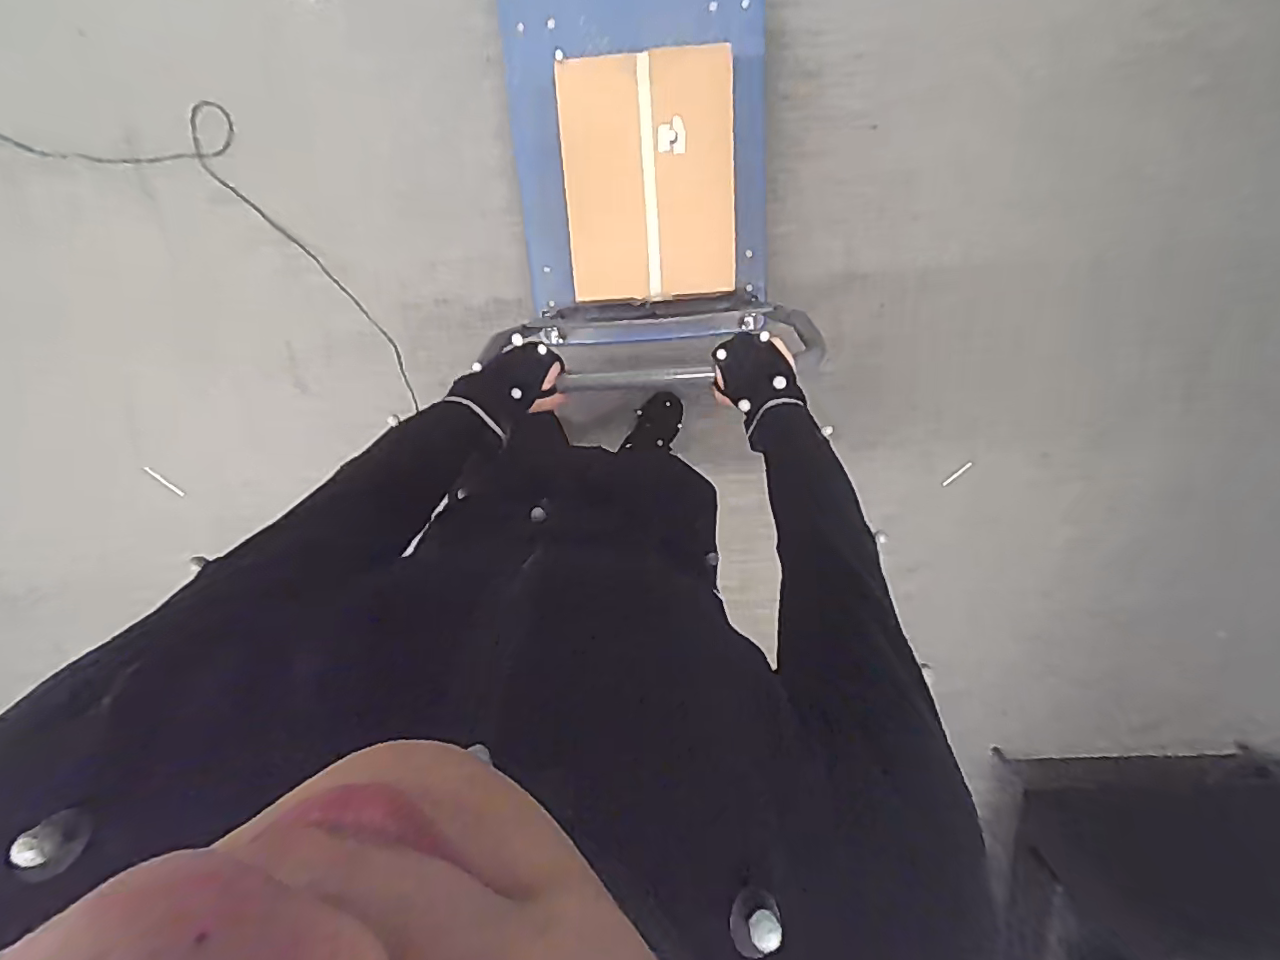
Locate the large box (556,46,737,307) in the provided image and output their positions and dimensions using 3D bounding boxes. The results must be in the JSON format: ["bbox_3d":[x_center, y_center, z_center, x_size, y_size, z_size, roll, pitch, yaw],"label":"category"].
[{"bbox_3d":[0.025,-0.591,1.138,0.320,0.320,0.408,-3,106,2],"label":"large box"}]
